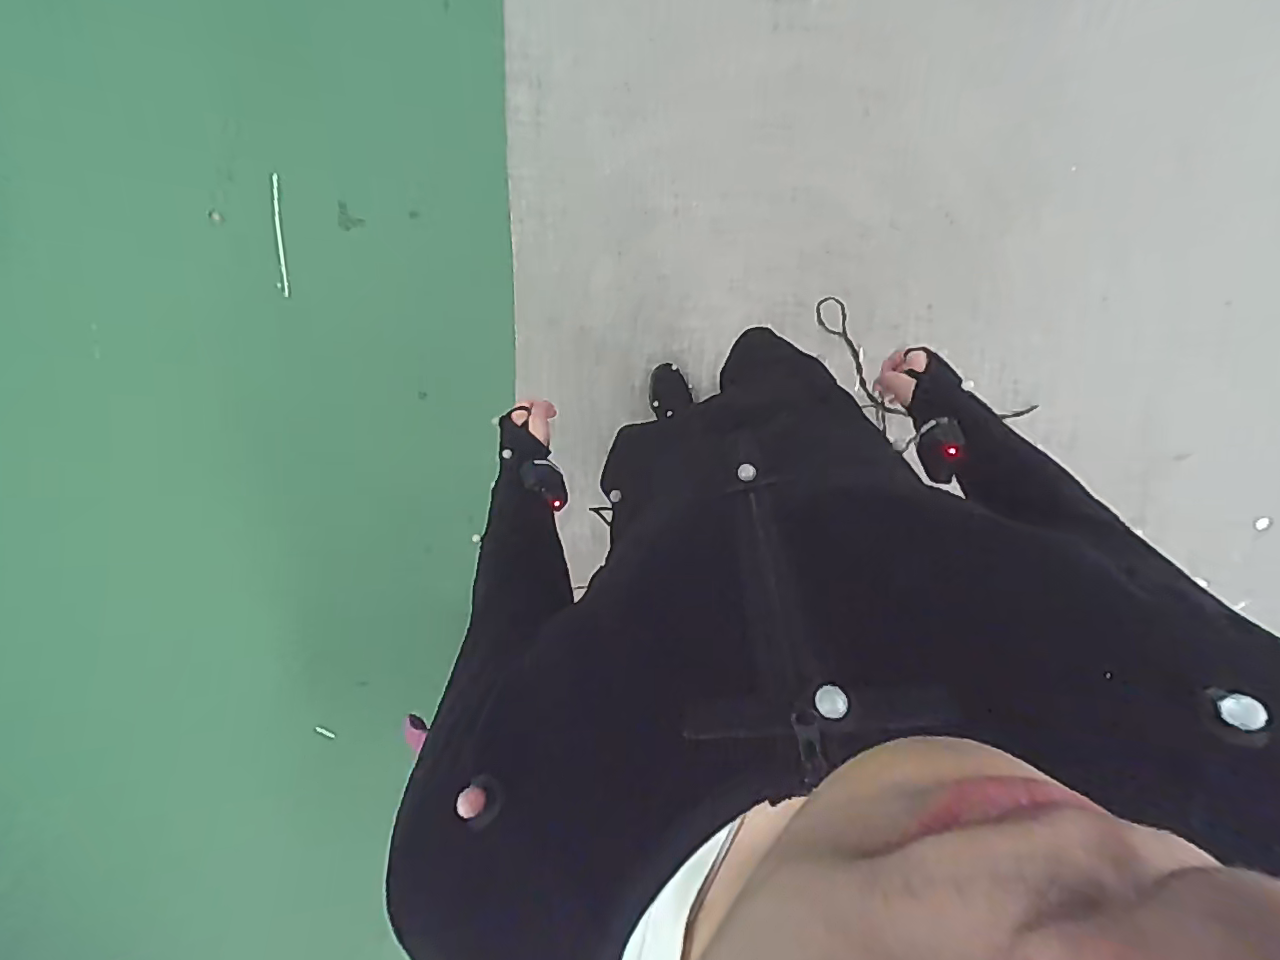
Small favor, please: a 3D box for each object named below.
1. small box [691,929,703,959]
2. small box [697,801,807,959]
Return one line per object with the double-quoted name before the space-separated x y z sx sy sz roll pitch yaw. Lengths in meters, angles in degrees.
"small box" 0.181 1.000 1.022 0.168 0.176 0.179 5 103 2
"small box" 0.189 0.710 0.957 0.168 0.176 0.179 -1 103 2
